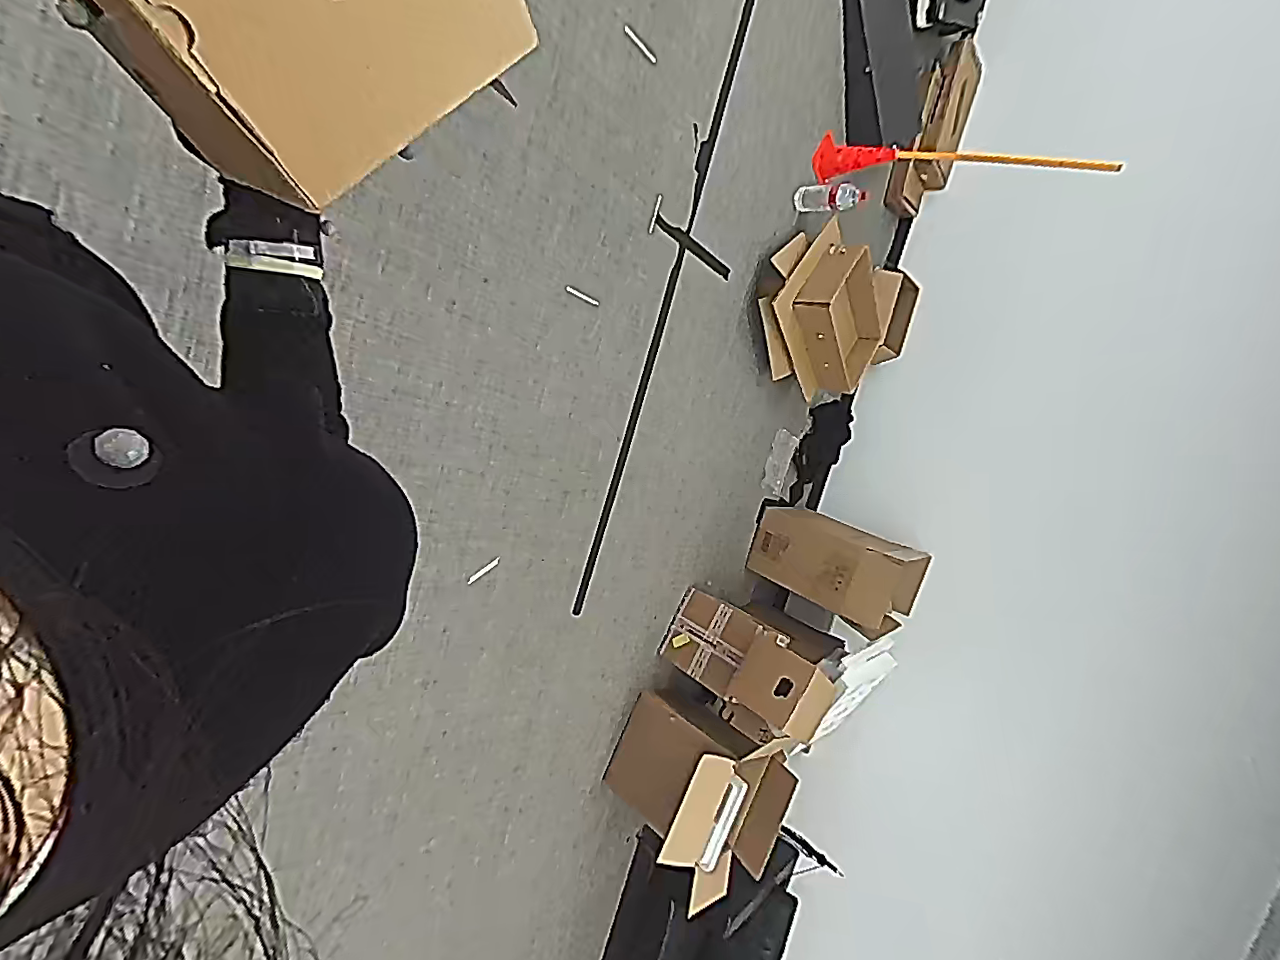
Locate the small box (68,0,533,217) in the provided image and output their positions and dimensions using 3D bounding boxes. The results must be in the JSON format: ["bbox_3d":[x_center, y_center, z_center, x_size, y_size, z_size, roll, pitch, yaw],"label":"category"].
[{"bbox_3d":[-0.200,-0.285,0.300,0.179,0.176,0.168,-49,146,-15],"label":"small box"}]
